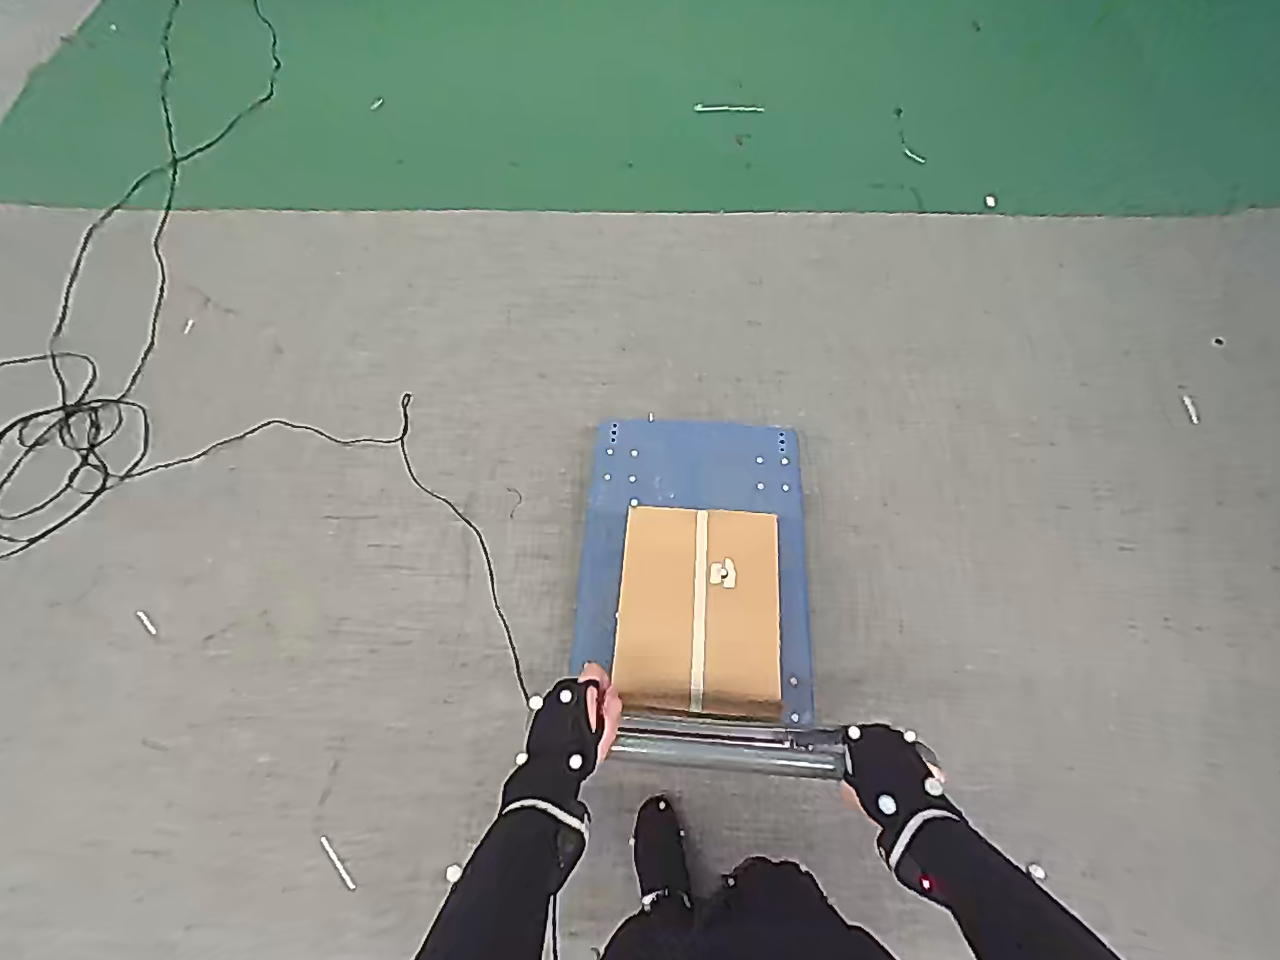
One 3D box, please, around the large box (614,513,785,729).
[{"bbox_3d":[0.124,0.320,1.188,0.320,0.320,0.408,3,64,3],"label":"large box"}]
